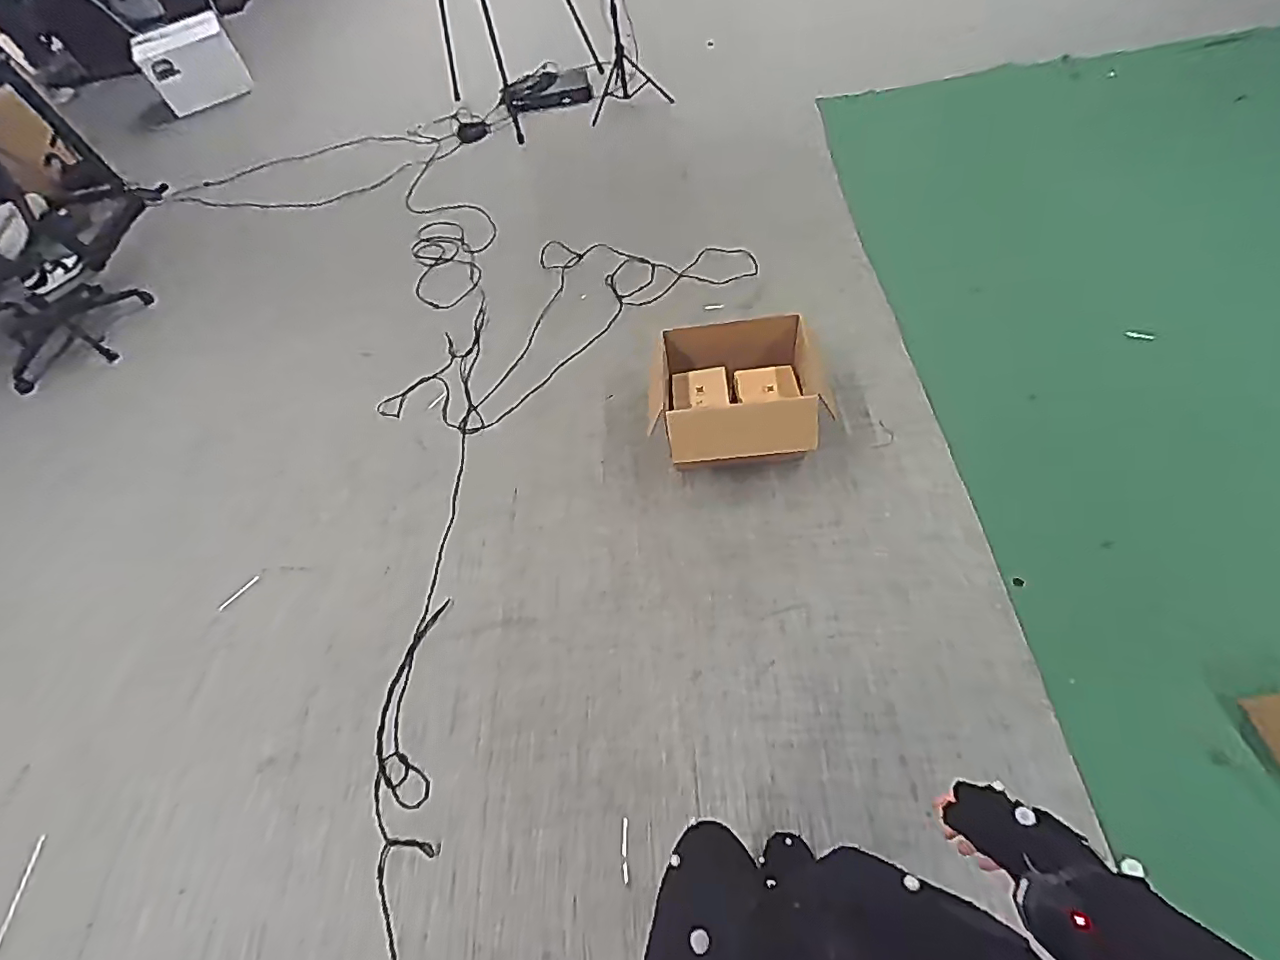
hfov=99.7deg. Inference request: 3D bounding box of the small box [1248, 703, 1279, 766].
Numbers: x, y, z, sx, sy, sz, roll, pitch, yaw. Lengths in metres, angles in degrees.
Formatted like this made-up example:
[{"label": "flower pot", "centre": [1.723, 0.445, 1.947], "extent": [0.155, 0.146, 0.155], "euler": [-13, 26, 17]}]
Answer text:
[{"label": "small box", "centre": [1.390, 0.522, 1.057], "extent": [0.168, 0.176, 0.179], "euler": [-8, 56, 4]}]
